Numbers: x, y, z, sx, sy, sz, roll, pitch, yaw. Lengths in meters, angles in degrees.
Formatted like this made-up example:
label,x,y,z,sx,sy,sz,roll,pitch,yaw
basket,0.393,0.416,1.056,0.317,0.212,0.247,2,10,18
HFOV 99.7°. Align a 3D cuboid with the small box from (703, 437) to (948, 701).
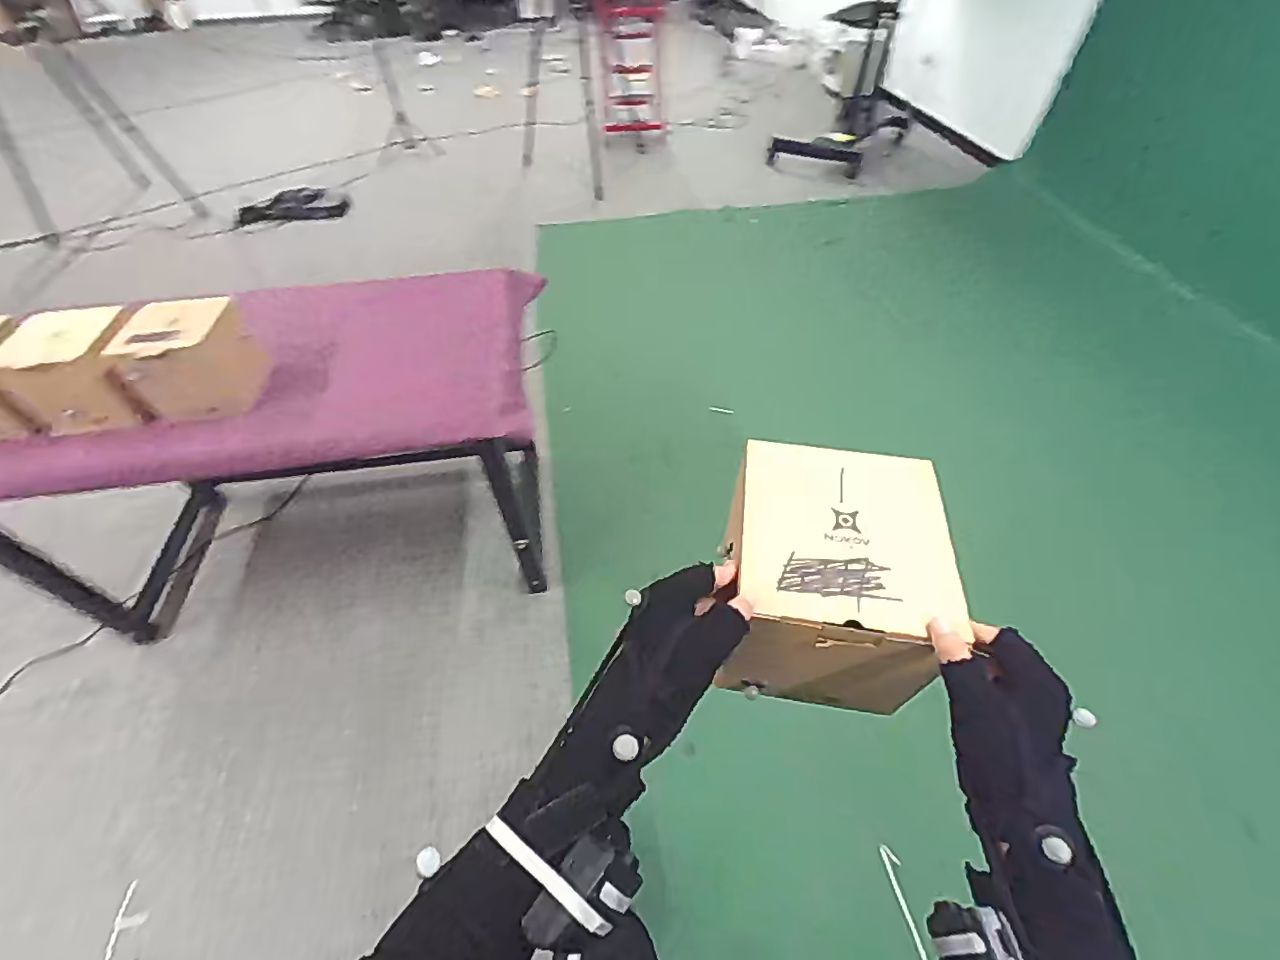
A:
label,x,y,z,sx,sy,sz,roll,pitch,yaw
small box,0.153,0.086,0.504,0.168,0.176,0.179,8,50,5
